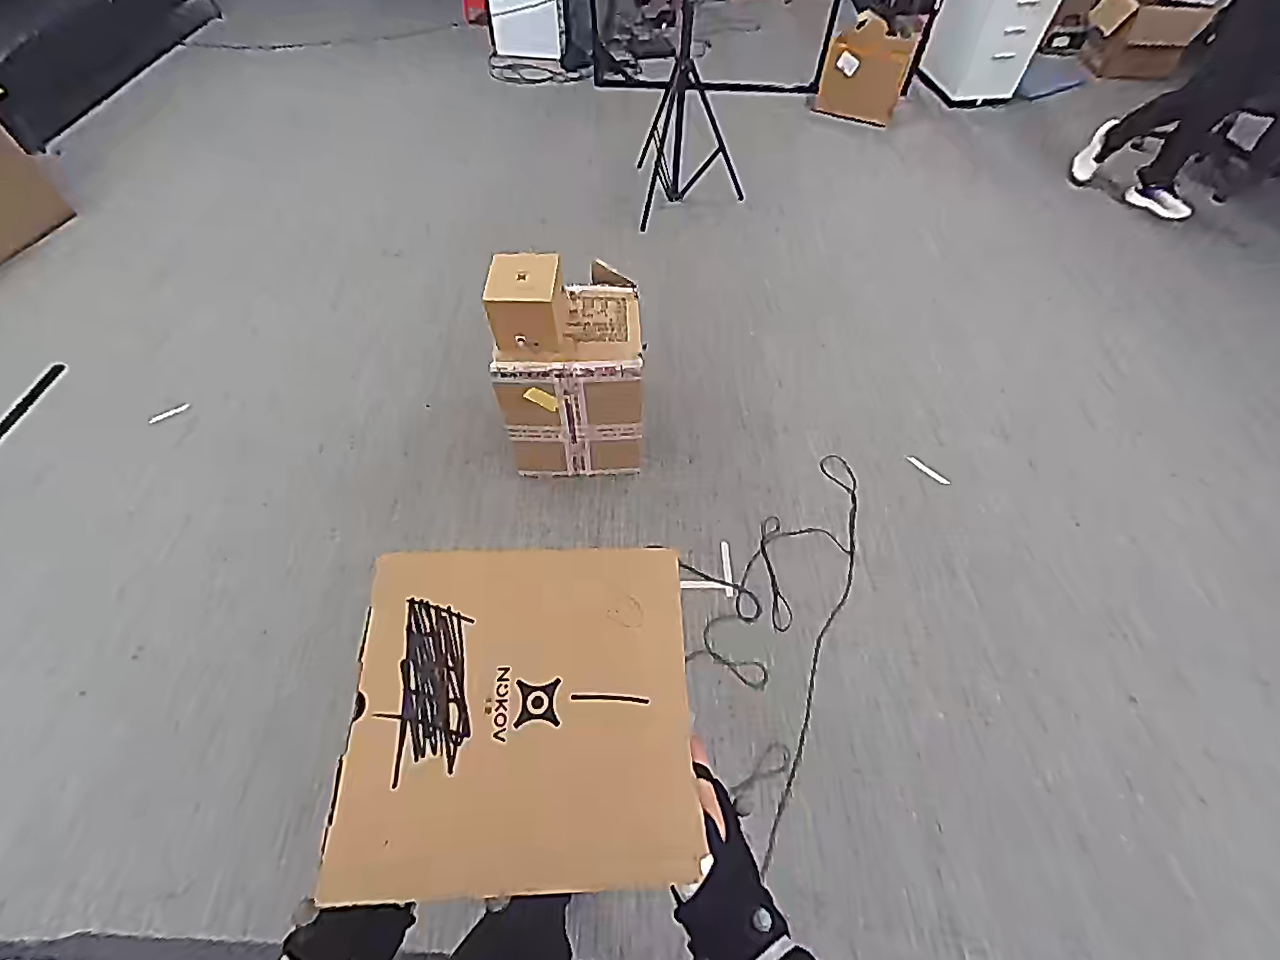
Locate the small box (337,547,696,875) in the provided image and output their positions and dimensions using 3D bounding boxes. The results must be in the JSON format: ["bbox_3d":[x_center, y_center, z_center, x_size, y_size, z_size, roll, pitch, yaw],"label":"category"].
[{"bbox_3d":[-0.063,0.152,0.366,0.179,0.176,0.168,-1,63,-4],"label":"small box"}]

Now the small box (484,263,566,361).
[{"bbox_3d":[-0.284,-0.427,1.380,0.168,0.176,0.179,0,60,1],"label":"small box"}]
